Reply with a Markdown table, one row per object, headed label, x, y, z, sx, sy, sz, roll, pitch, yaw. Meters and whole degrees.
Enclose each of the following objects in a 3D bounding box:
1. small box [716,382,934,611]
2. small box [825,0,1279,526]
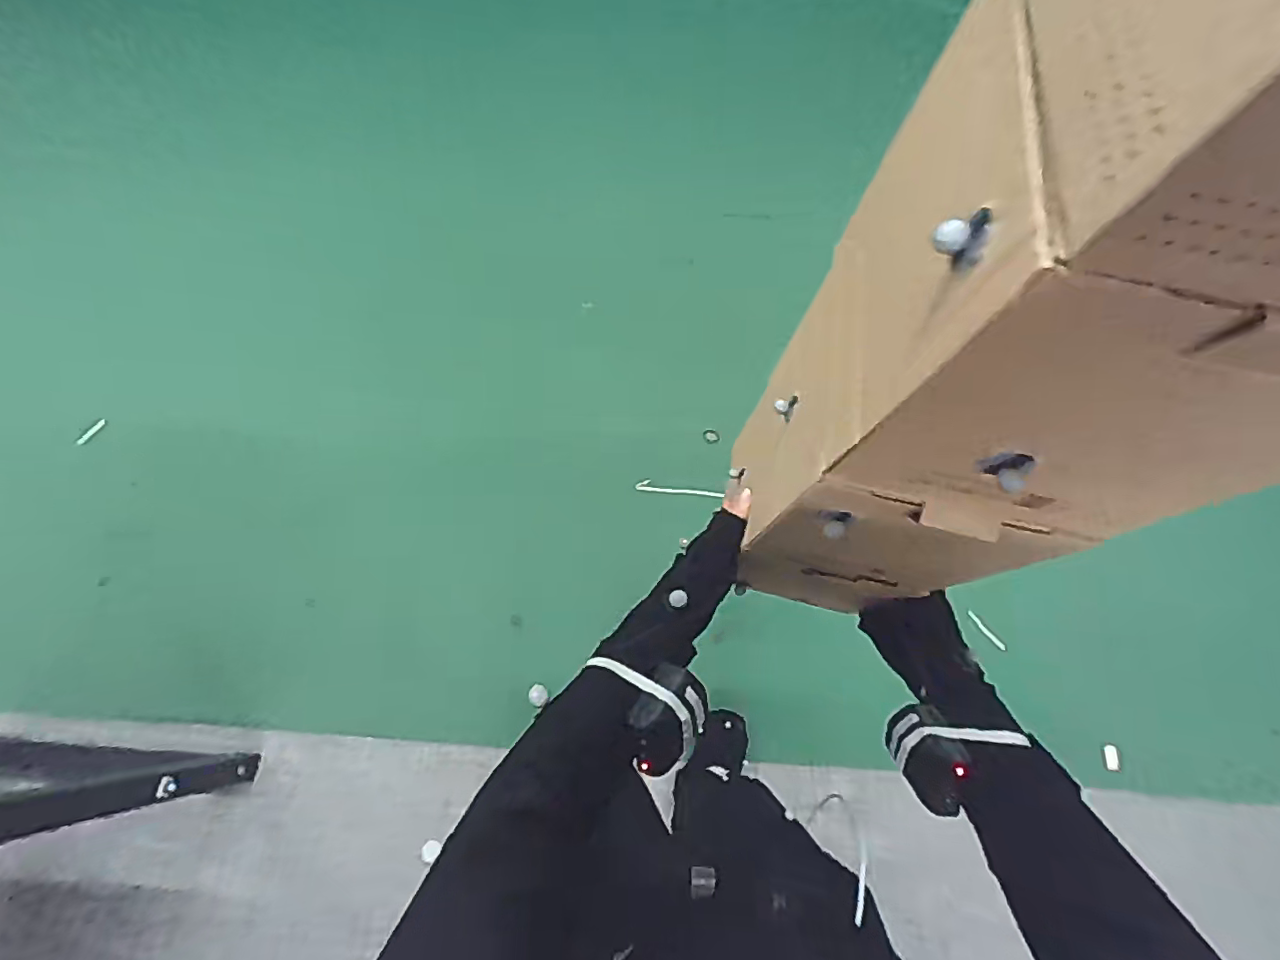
| label | x | y | z | sx | sy | sz | roll | pitch | yaw |
| --- | --- | --- | --- | --- | --- | --- | --- | --- | --- |
| small box | 0.184 | 0.029 | 0.571 | 0.168 | 0.176 | 0.179 | 14 | 68 | 1 |
| small box | 0.204 | -0.094 | 0.268 | 0.168 | 0.176 | 0.179 | 11 | 69 | 0 |
